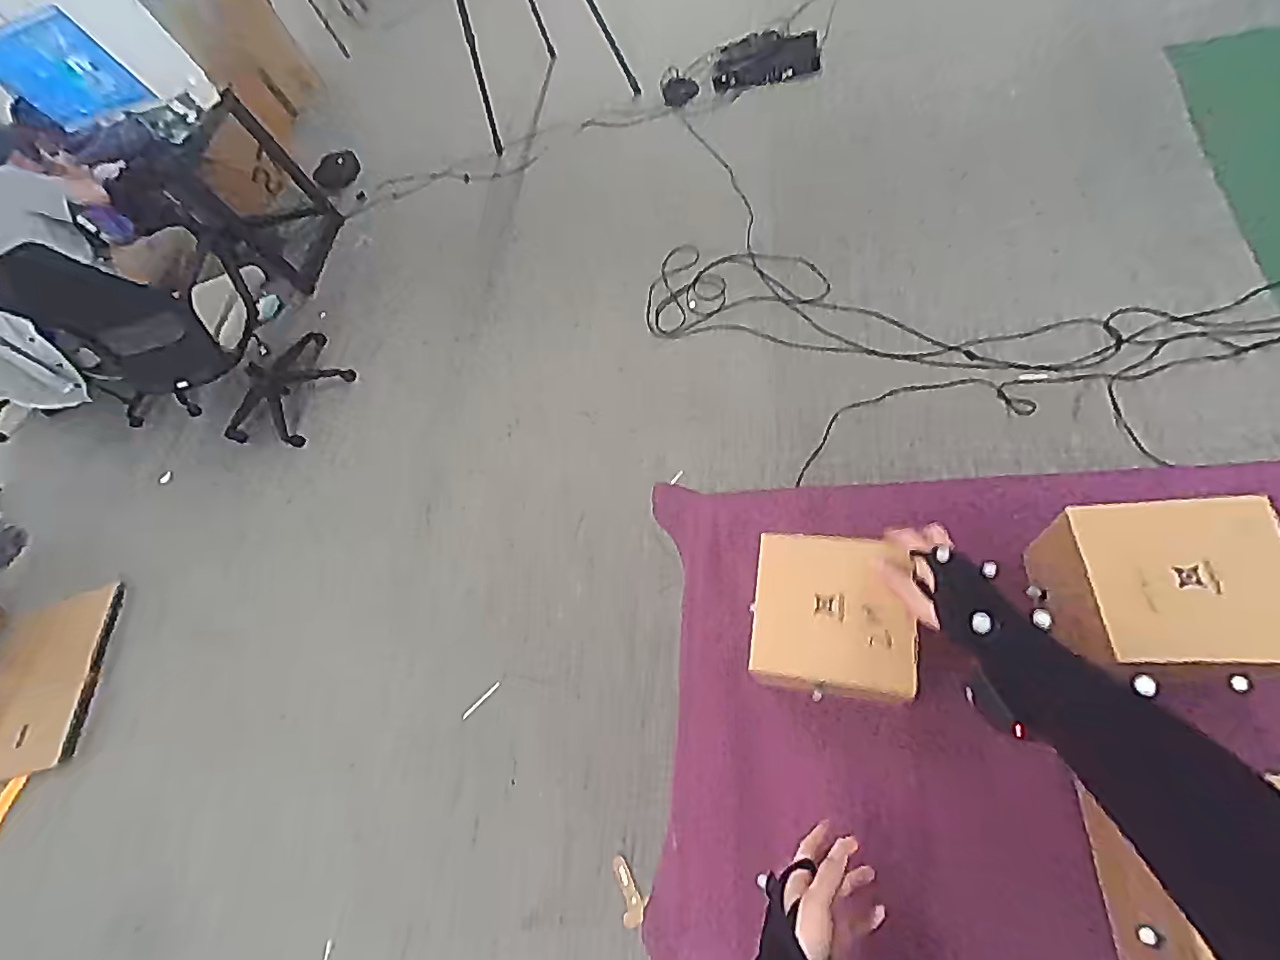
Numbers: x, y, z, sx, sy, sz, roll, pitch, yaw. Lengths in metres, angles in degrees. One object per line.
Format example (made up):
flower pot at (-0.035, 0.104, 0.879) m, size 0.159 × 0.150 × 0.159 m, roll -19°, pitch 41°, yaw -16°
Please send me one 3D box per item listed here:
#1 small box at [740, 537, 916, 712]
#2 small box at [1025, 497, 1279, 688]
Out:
small box at (0.233, 0.183, 0.671) m, size 0.179 × 0.176 × 0.168 m, roll 5°, pitch 67°, yaw 21°
small box at (0.562, 0.129, 0.590) m, size 0.179 × 0.176 × 0.168 m, roll -5°, pitch 62°, yaw 17°
